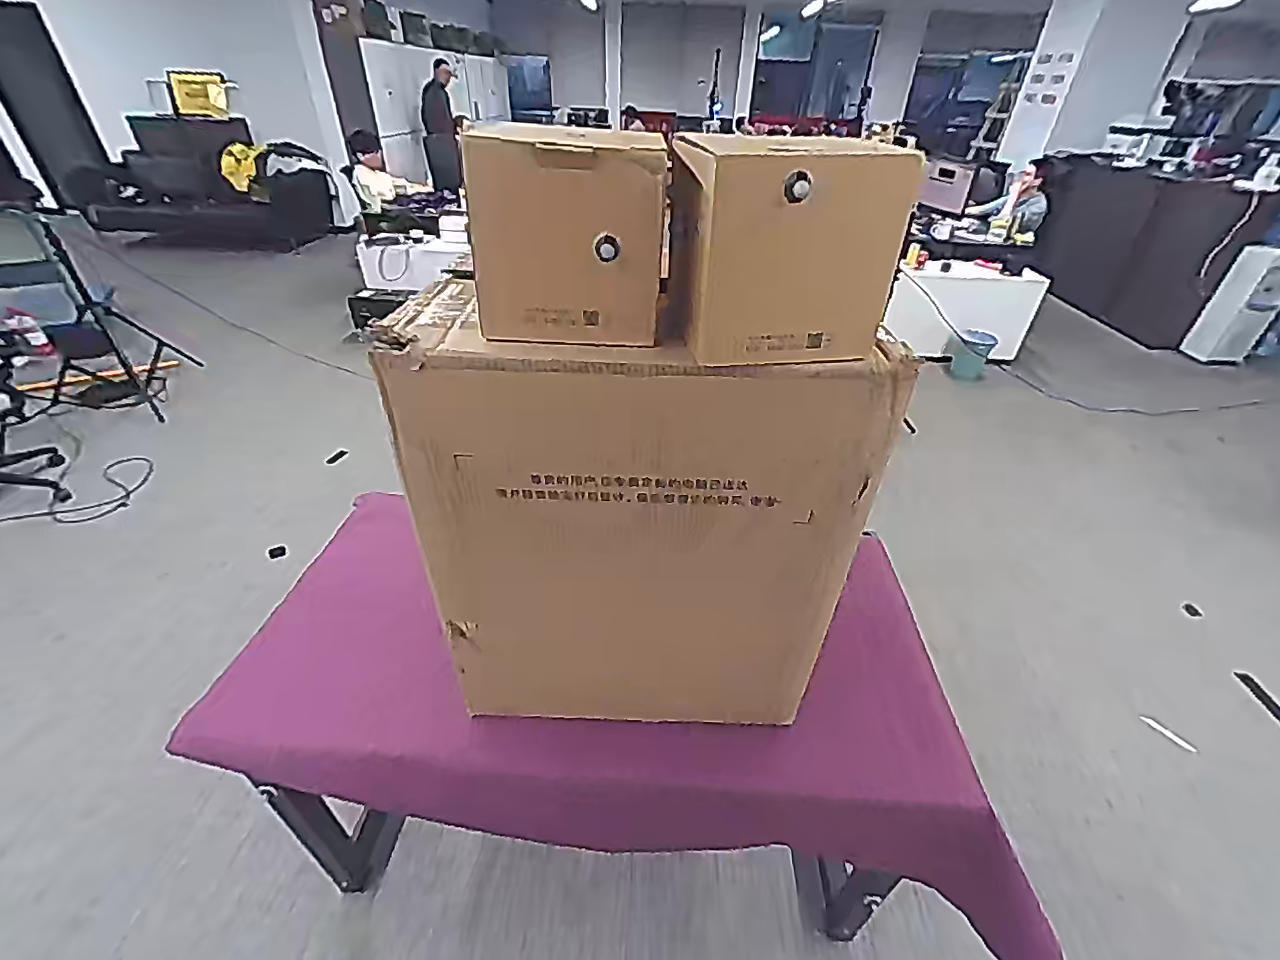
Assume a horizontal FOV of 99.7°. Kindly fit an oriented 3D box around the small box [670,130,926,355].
[{"bbox_3d":[0.125,-0.228,0.513,0.168,0.176,0.179,-4,35,-7],"label":"small box"}]

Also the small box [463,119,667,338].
[{"bbox_3d":[-0.064,-0.250,0.537,0.168,0.176,0.179,3,34,-3],"label":"small box"}]
